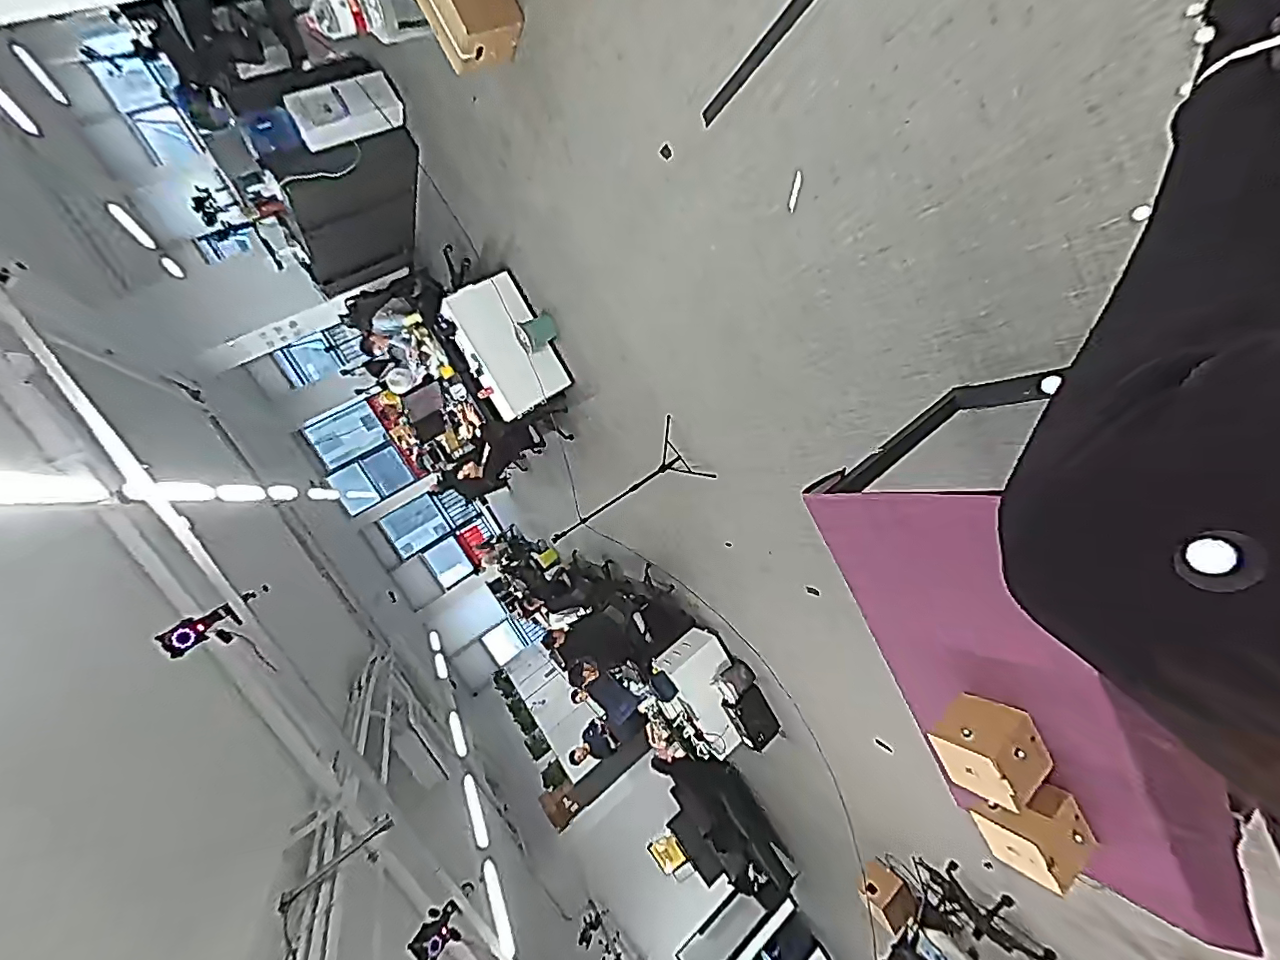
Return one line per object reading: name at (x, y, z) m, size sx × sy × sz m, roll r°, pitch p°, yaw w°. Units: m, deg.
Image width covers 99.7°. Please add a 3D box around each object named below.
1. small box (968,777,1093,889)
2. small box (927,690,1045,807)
small box at (1.001, 0.876, 1.387) m, size 0.168 × 0.176 × 0.179 m, roll 58°, pitch 159°, yaw -8°
small box at (0.874, 0.662, 1.358) m, size 0.168 × 0.176 × 0.179 m, roll 60°, pitch 159°, yaw -9°
